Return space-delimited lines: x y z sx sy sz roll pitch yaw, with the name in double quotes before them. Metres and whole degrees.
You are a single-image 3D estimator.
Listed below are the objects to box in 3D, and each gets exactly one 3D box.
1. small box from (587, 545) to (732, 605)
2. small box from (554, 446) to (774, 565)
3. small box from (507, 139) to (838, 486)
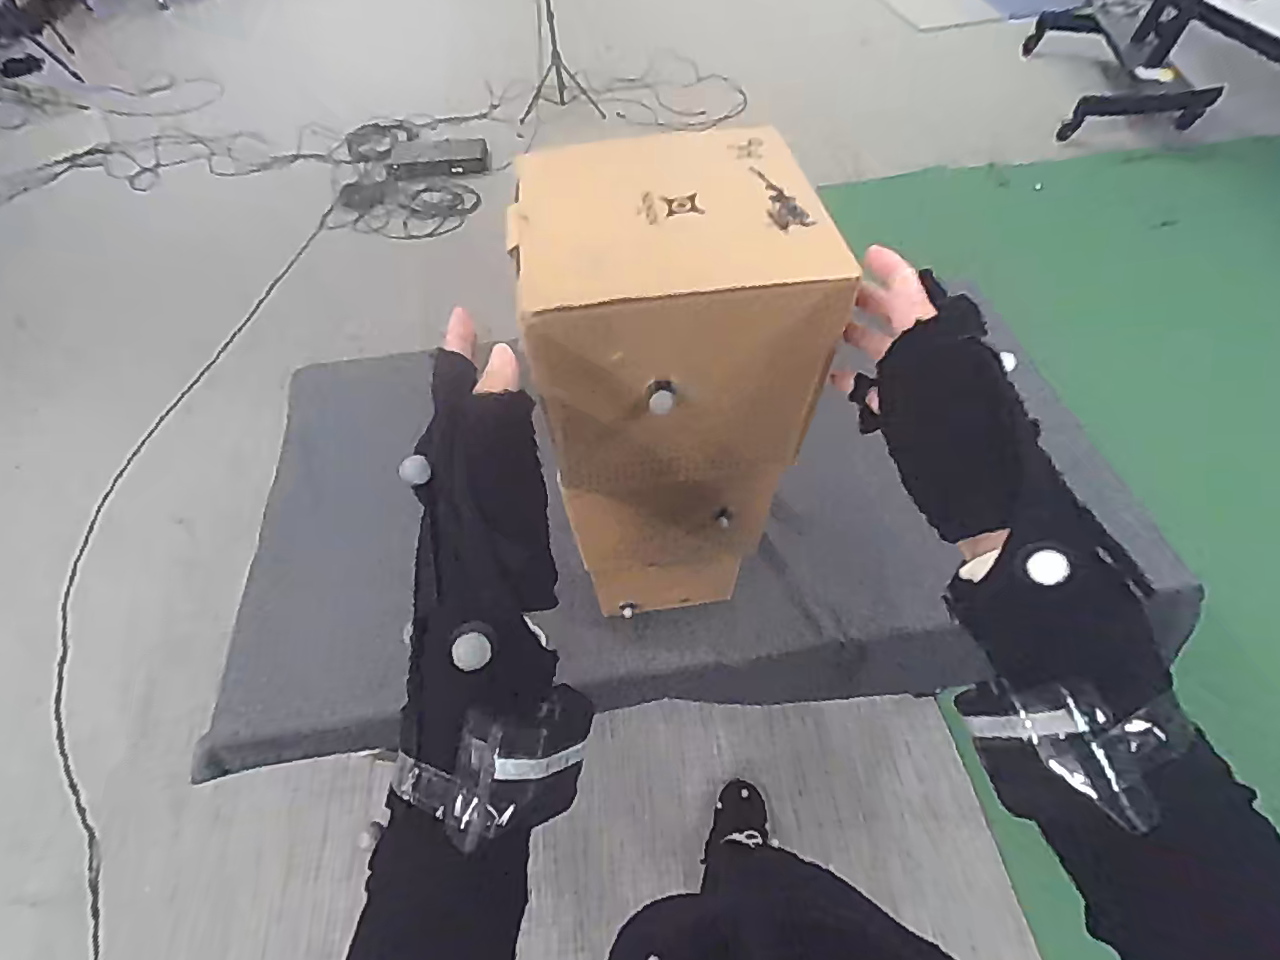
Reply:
"small box" 0.015 0.045 0.675 0.168 0.176 0.179 -11 59 -3
"small box" 0.016 -0.031 0.531 0.179 0.176 0.168 -7 56 0
"small box" 0.012 -0.113 0.391 0.179 0.176 0.168 -10 55 -5
